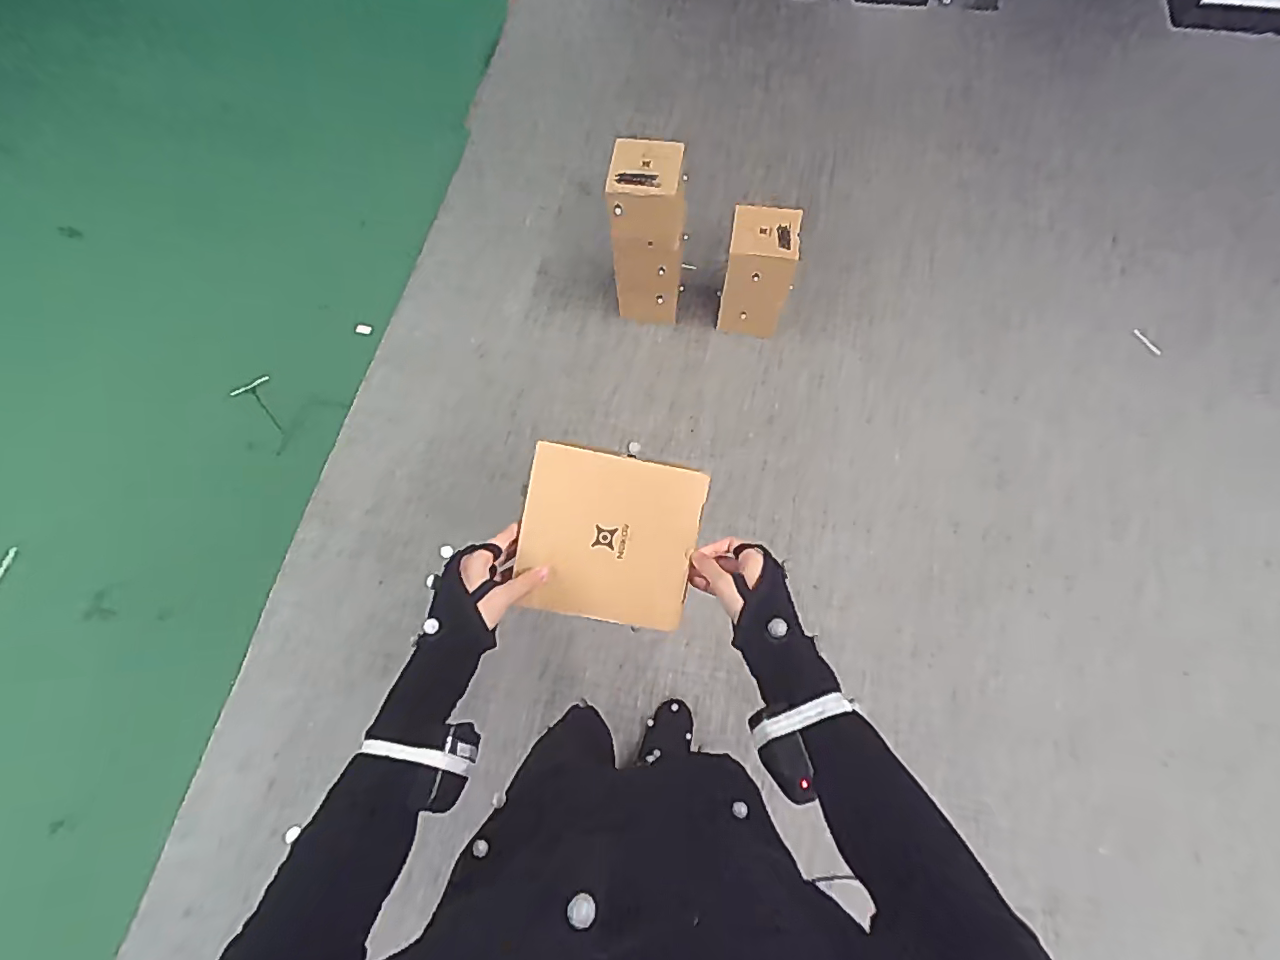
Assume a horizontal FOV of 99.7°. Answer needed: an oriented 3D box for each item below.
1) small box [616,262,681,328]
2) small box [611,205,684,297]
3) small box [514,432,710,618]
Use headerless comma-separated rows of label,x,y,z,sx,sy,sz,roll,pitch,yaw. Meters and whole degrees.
small box,0.031,-0.588,1.668,0.179,0.176,0.168,6,70,6
small box,0.024,-0.634,1.511,0.179,0.176,0.168,6,70,6
small box,-0.034,0.044,0.629,0.179,0.176,0.168,11,93,-5
